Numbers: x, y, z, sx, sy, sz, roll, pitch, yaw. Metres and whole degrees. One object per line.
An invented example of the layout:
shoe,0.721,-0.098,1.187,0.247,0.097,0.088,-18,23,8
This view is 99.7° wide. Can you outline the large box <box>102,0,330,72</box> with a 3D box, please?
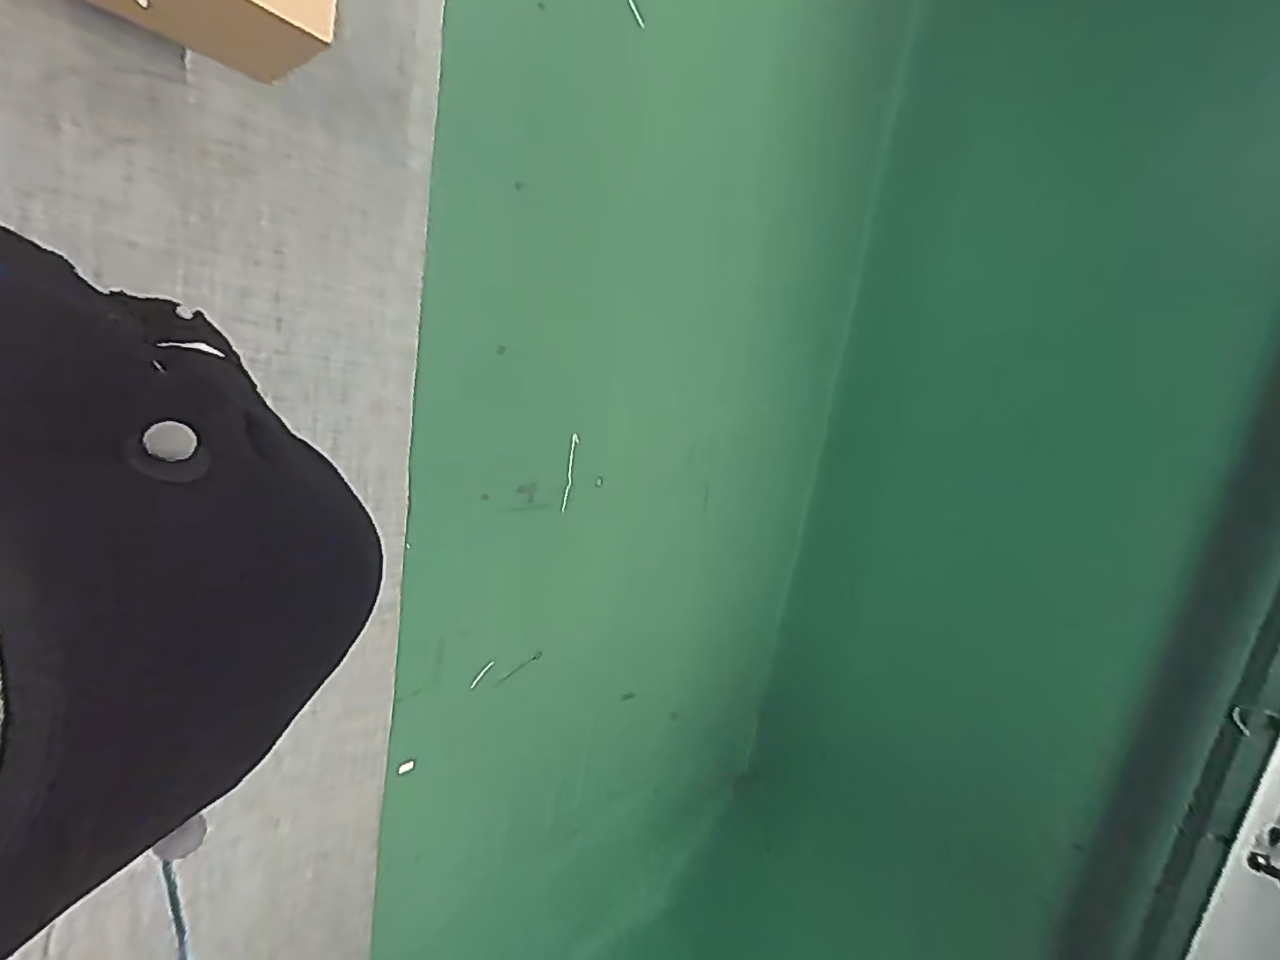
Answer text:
large box,-0.707,-0.876,0.770,0.408,0.320,0.320,-2,106,-50
